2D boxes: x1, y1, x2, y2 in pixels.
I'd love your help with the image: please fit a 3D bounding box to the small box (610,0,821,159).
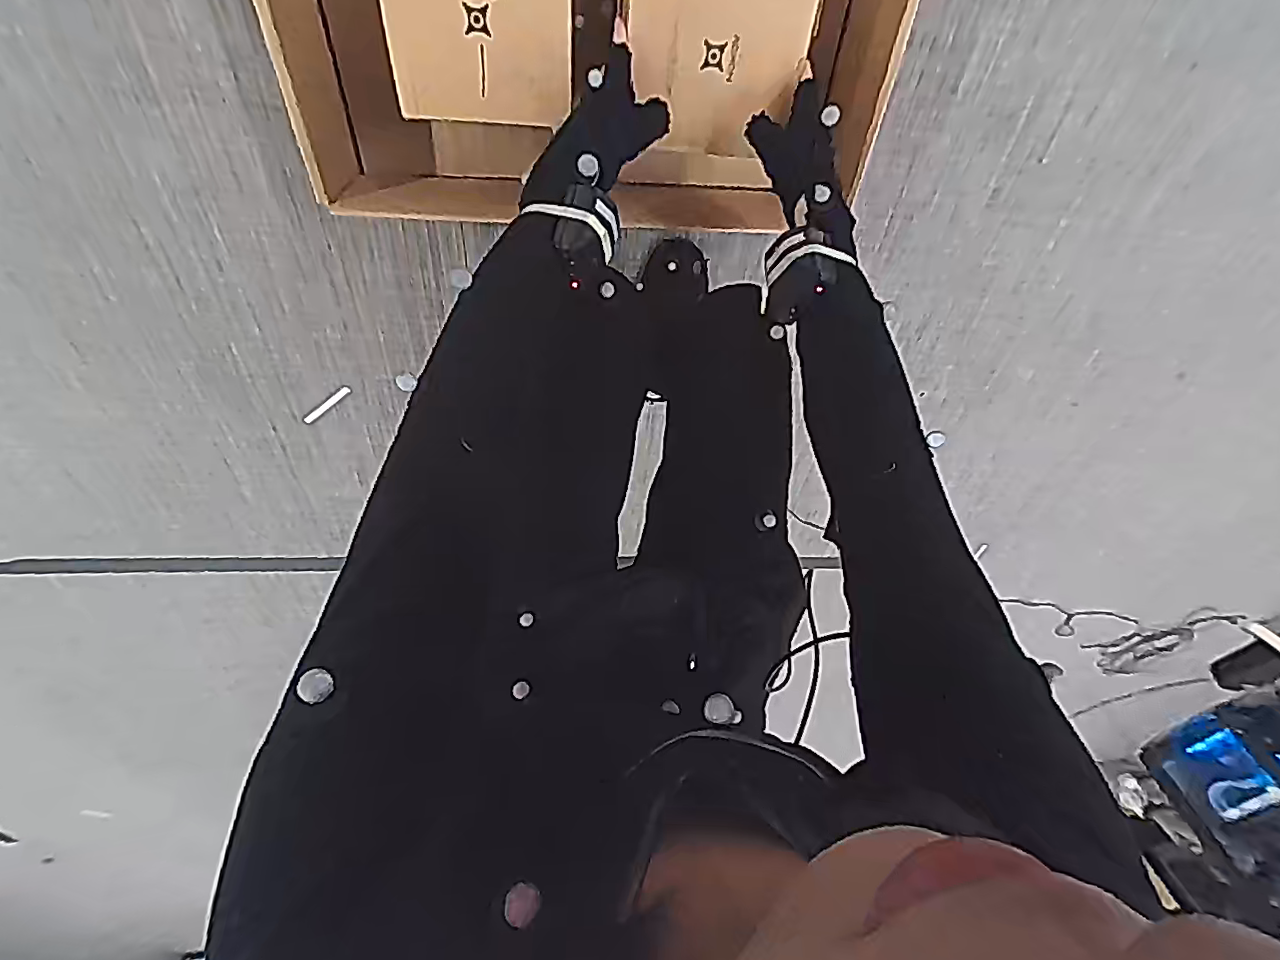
[{"bbox_3d":[0.065,-0.459,0.565,0.179,0.176,0.168,0,136,-8],"label":"small box"}]
